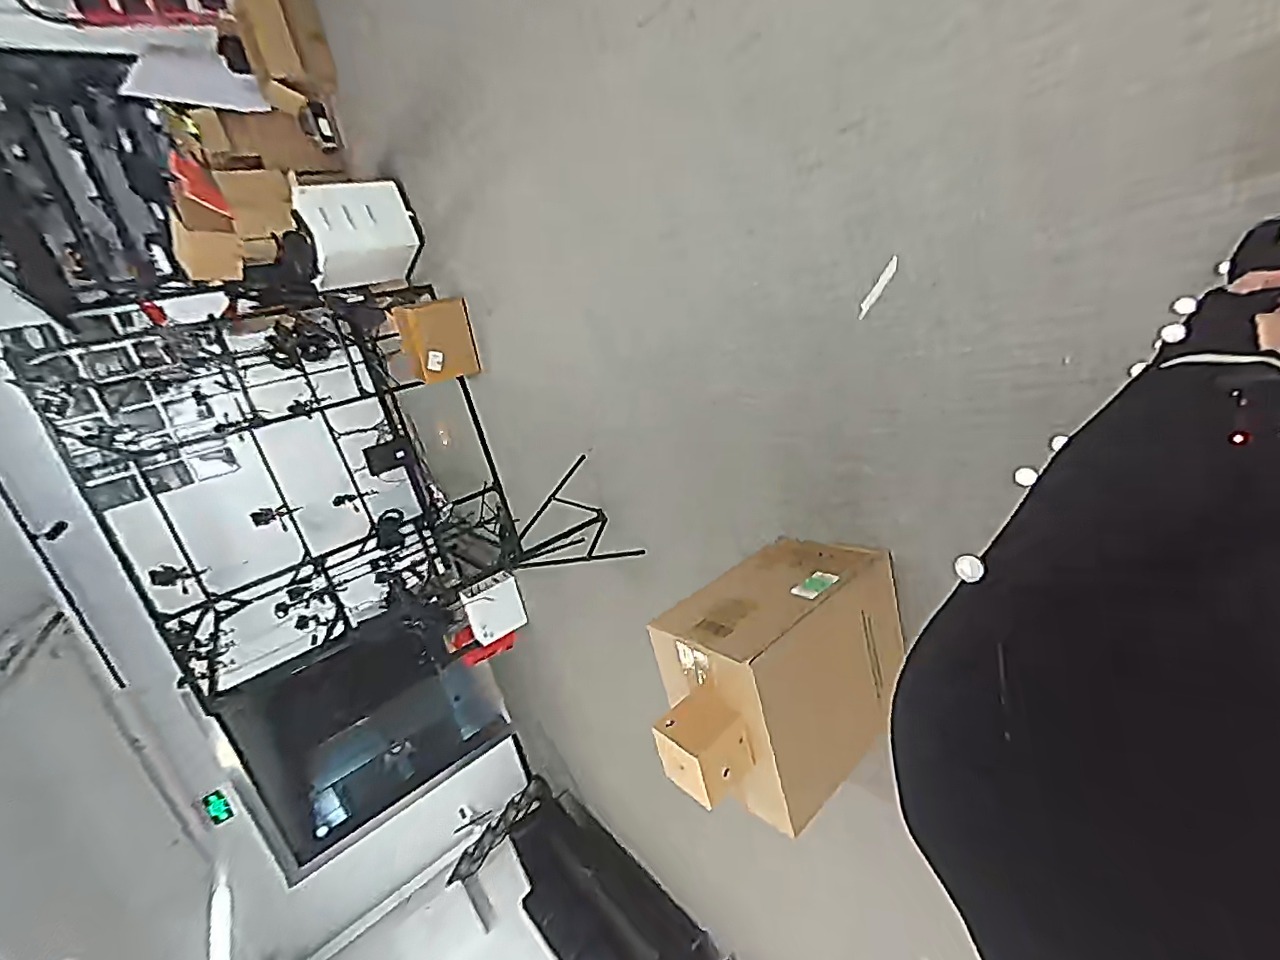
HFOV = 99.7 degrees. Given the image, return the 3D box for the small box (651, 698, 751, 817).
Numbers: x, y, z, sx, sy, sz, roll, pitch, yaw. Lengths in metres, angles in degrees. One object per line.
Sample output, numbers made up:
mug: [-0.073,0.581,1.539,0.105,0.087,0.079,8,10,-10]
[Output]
small box: [0.159,0.684,1.356,0.179,0.176,0.168,7,117,53]
